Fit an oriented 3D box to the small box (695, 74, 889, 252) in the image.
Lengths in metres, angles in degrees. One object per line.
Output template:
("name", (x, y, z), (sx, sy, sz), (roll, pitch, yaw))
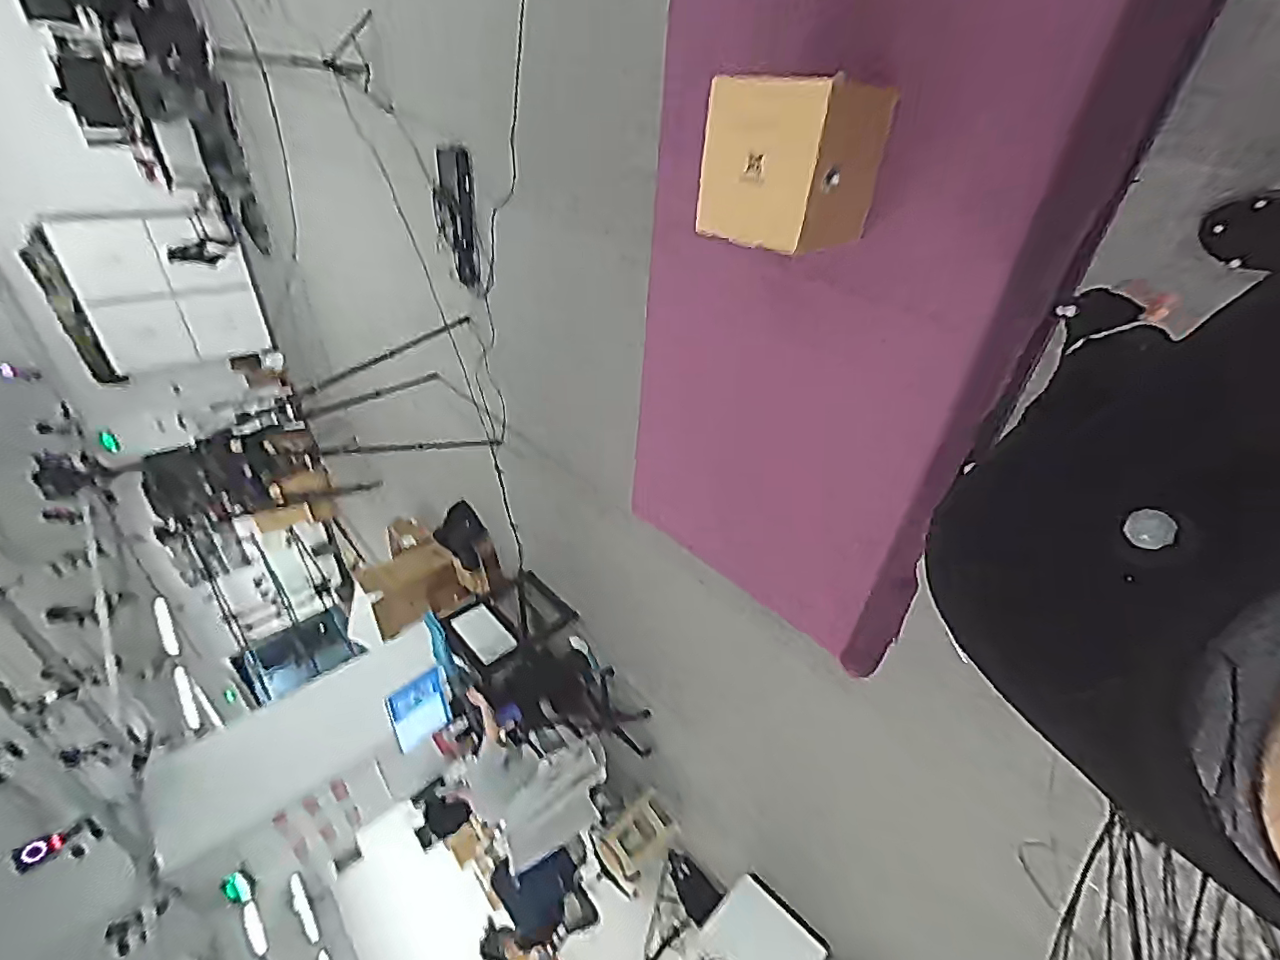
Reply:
("small box", (0.197, -0.417, 0.712), (0.168, 0.176, 0.179), (33, 133, 34))
